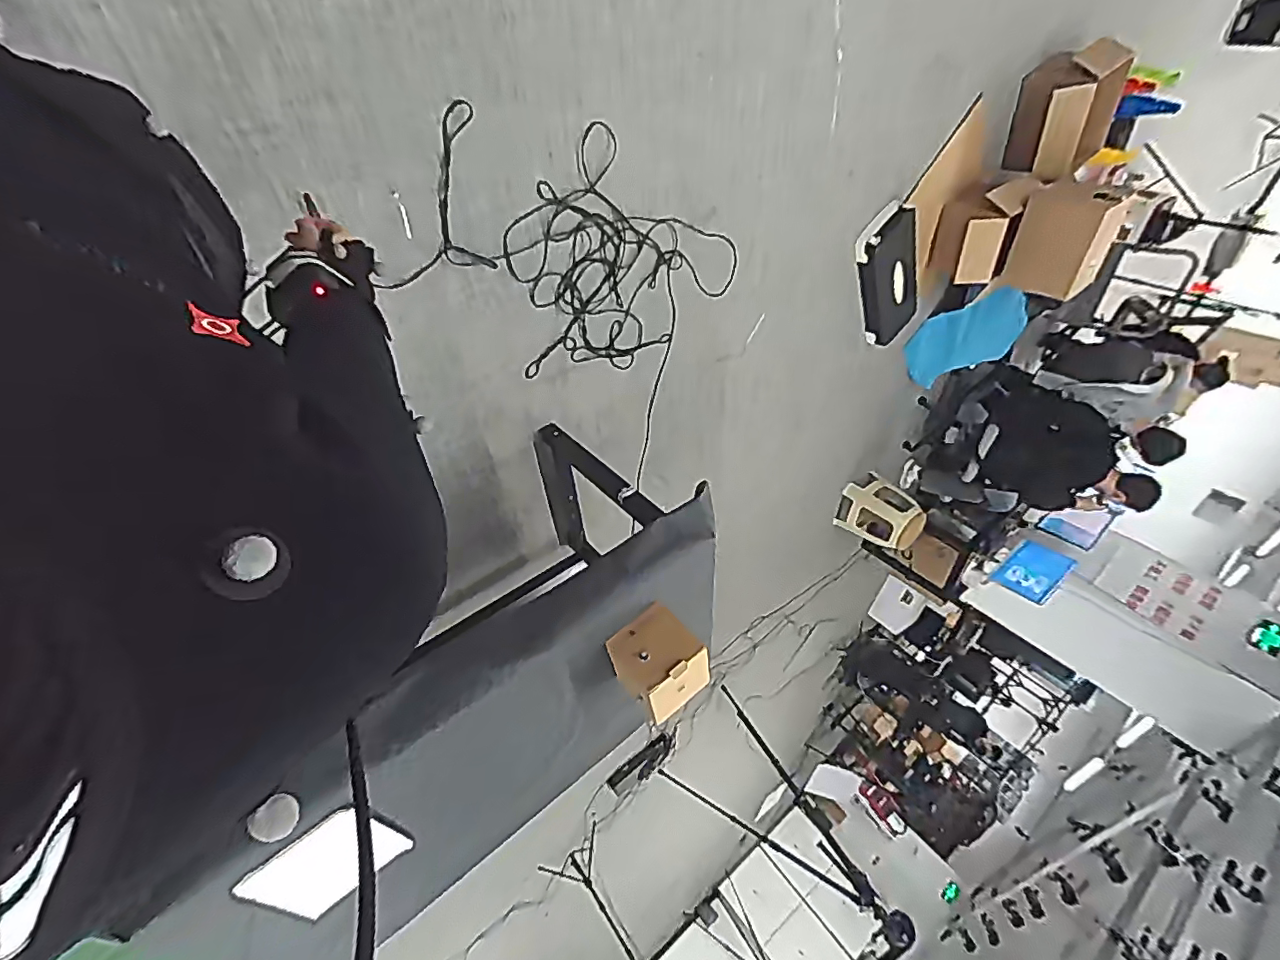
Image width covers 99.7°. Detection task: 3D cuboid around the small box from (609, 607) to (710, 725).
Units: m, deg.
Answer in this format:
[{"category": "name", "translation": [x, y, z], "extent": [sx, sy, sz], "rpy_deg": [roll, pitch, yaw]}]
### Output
[{"category": "small box", "translation": [0.045, 0.426, 1.268], "extent": [0.168, 0.176, 0.179], "rpy_deg": [-33, 139, -21]}]
